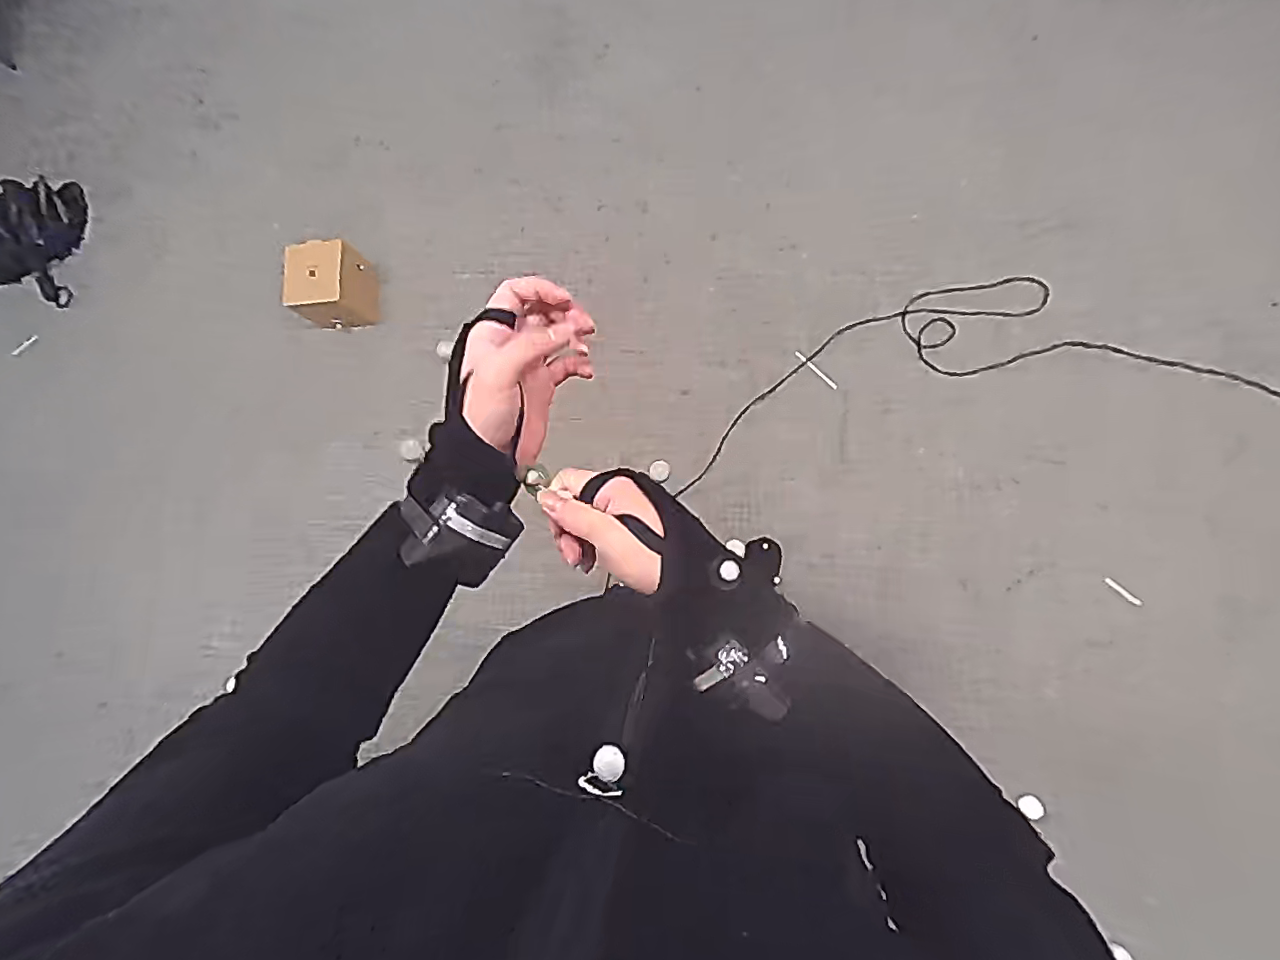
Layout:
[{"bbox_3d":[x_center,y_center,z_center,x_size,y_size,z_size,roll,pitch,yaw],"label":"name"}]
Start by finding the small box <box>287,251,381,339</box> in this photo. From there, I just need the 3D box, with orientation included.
[{"bbox_3d":[-0.853,-0.516,1.521,0.168,0.176,0.179,-3,83,7],"label":"small box"}]
